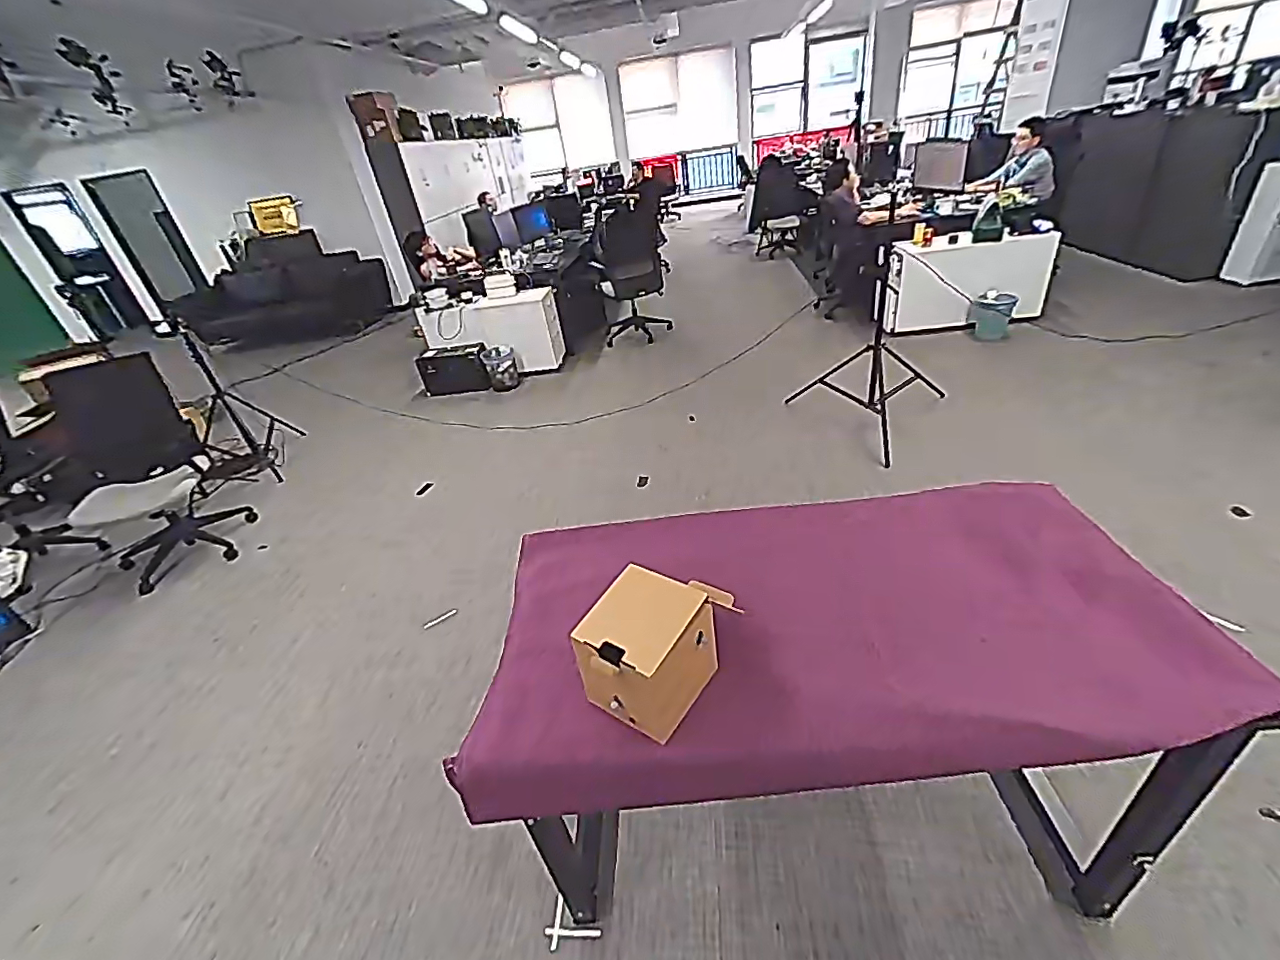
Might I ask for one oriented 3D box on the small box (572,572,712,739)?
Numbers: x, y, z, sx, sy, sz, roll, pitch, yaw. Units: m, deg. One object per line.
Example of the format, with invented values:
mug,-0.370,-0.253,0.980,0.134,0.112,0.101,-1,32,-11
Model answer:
small box,0.012,0.294,0.923,0.168,0.176,0.179,15,39,35
